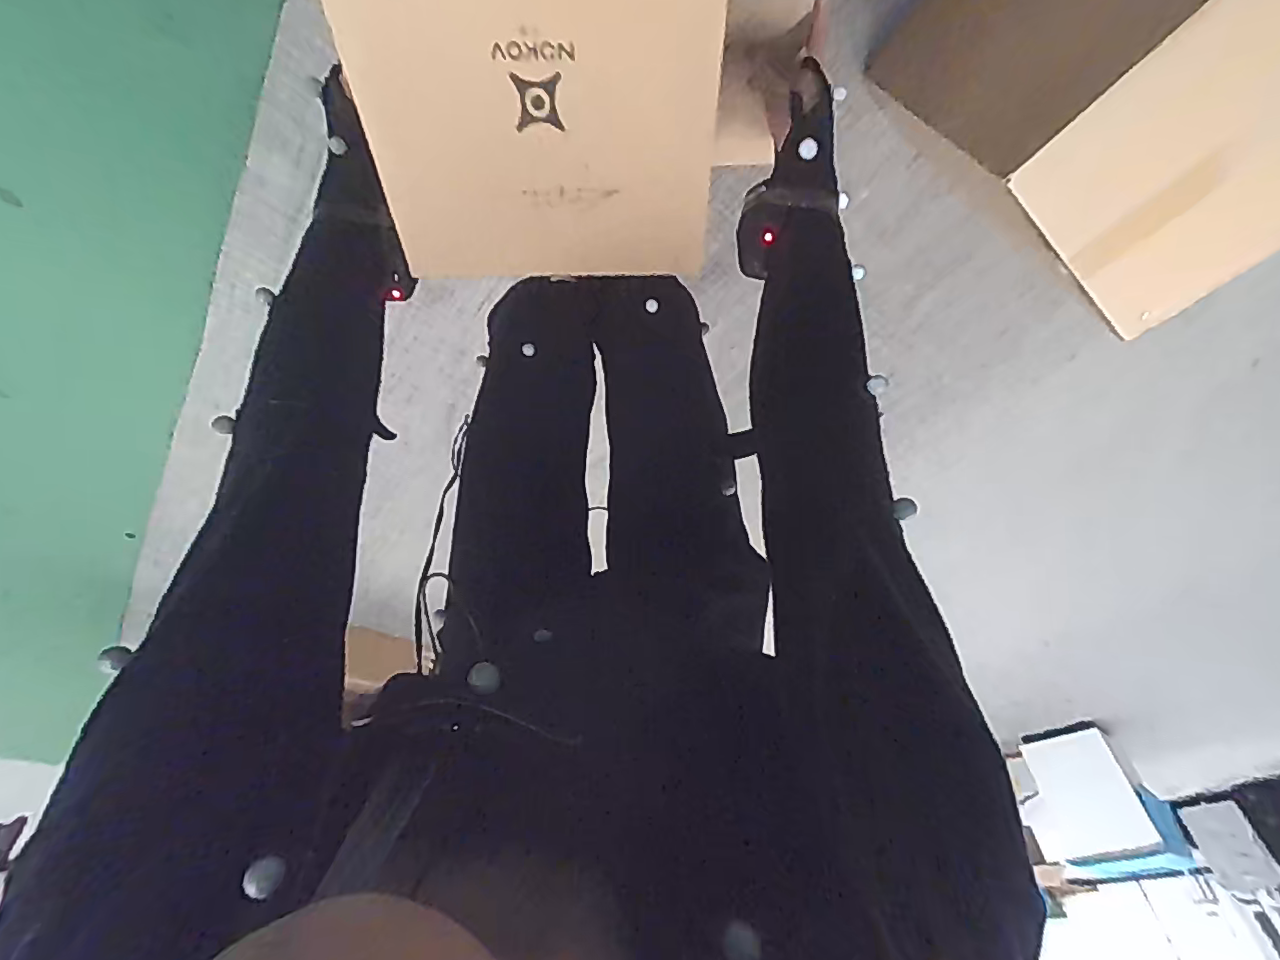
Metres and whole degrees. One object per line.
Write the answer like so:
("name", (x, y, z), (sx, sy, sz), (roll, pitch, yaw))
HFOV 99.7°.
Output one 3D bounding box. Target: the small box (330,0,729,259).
("small box", (-0.047, -0.241, 0.290), (0.168, 0.176, 0.179), (0, 138, -1))
